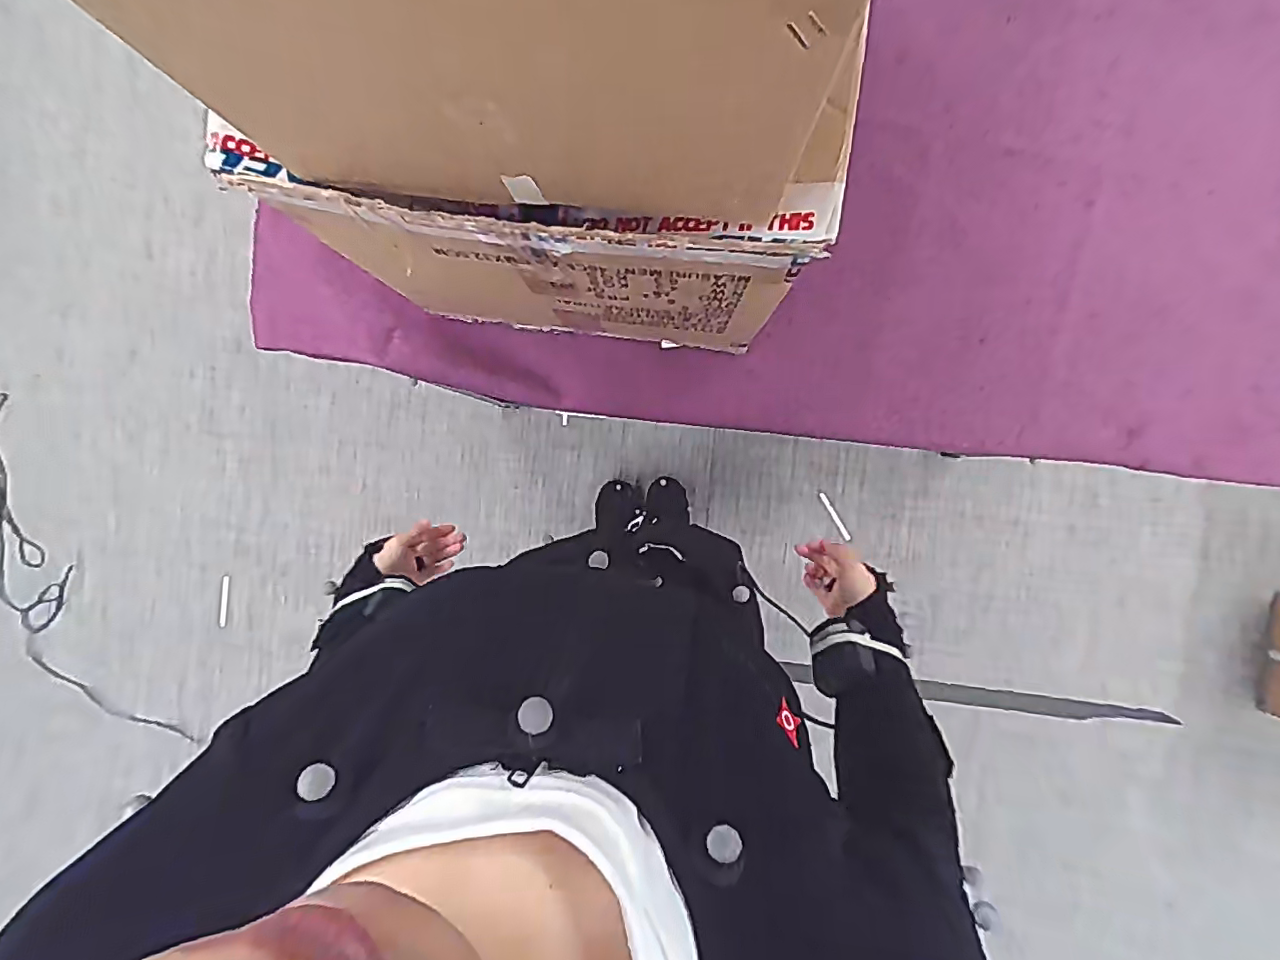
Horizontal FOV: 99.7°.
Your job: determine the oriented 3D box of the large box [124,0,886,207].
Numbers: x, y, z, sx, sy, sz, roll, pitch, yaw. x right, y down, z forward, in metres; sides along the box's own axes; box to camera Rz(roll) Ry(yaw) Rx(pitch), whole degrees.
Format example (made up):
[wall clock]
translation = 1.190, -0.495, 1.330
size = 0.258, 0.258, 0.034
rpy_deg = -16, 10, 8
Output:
[large box]
translation = -0.046, -0.375, 0.187
size = 0.320, 0.320, 0.408
rpy_deg = 6, 92, 4
